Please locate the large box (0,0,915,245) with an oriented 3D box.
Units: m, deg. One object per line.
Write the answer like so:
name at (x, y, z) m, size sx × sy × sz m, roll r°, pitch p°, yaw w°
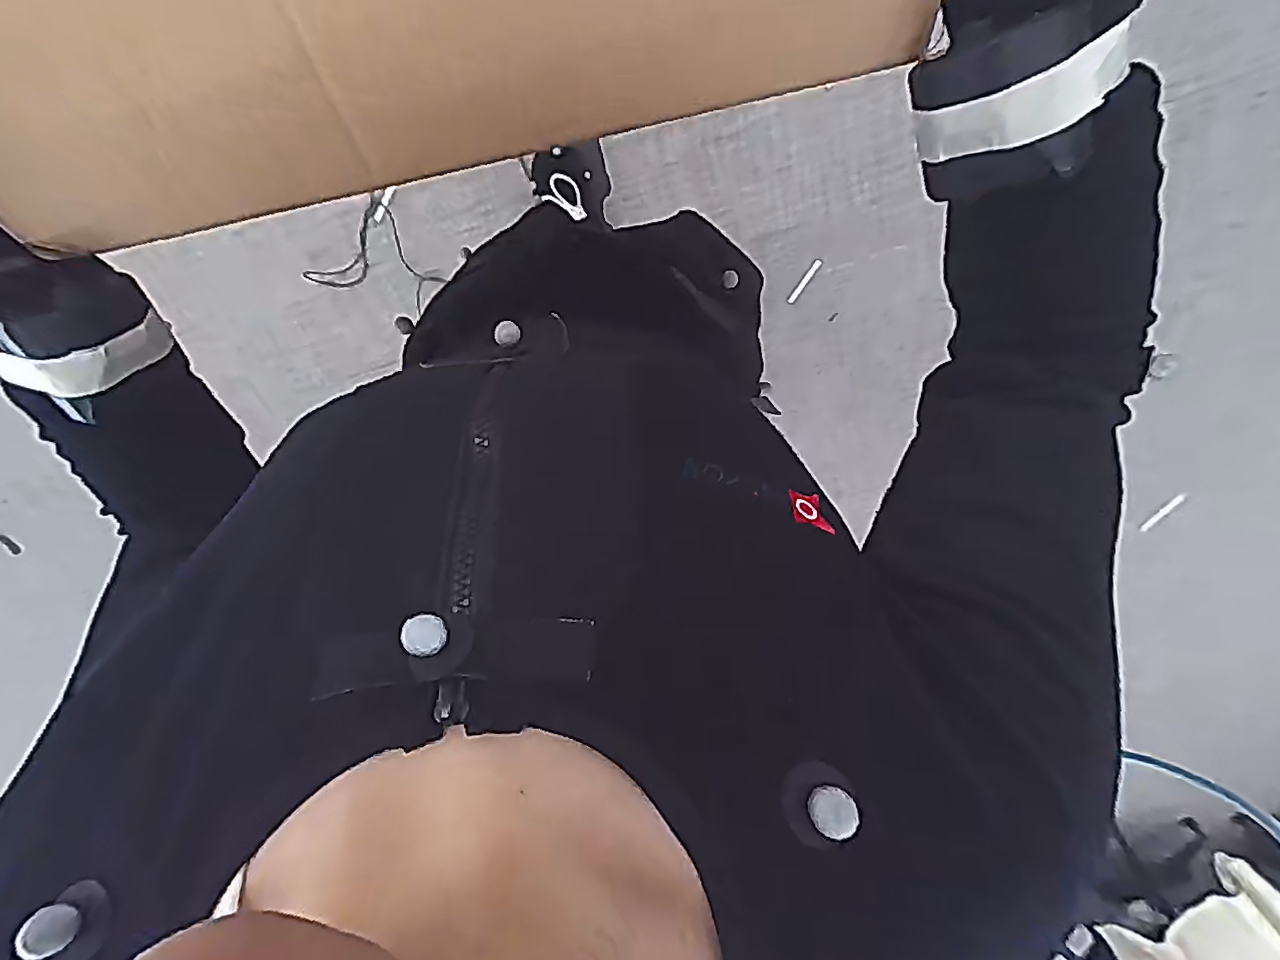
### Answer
large box at (-0.119, -0.357, 0.215) m, size 0.408 × 0.320 × 0.320 m, roll -10°, pitch 142°, yaw 4°
